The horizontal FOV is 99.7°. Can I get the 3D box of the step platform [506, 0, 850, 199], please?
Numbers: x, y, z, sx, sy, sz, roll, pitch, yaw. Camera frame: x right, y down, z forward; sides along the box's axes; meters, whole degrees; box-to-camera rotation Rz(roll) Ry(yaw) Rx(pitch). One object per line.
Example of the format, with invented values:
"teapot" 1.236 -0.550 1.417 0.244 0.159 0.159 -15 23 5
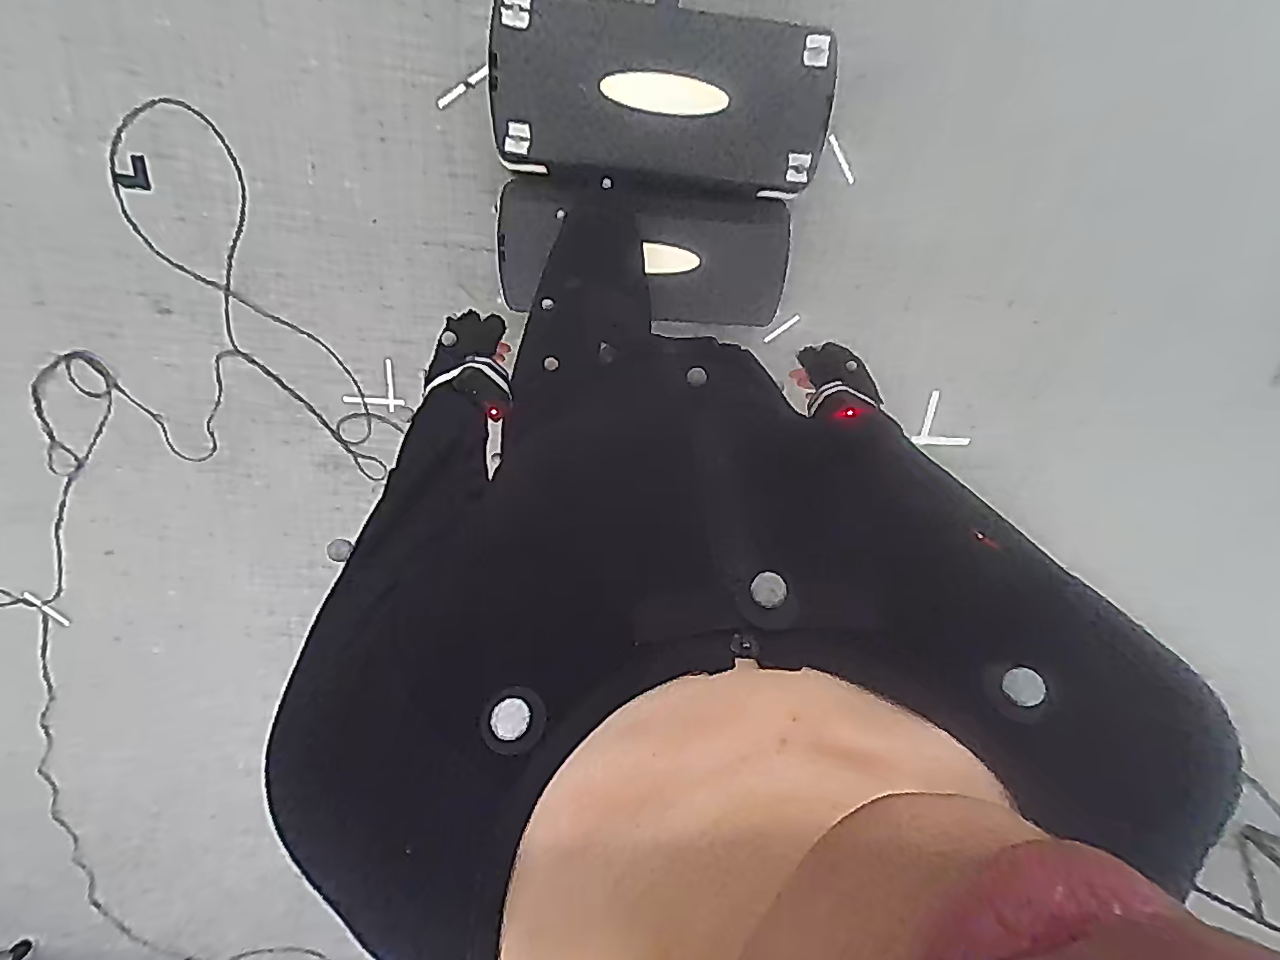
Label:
"step platform" 0.072 -0.776 1.124 0.684 0.204 0.286 2 112 -6
